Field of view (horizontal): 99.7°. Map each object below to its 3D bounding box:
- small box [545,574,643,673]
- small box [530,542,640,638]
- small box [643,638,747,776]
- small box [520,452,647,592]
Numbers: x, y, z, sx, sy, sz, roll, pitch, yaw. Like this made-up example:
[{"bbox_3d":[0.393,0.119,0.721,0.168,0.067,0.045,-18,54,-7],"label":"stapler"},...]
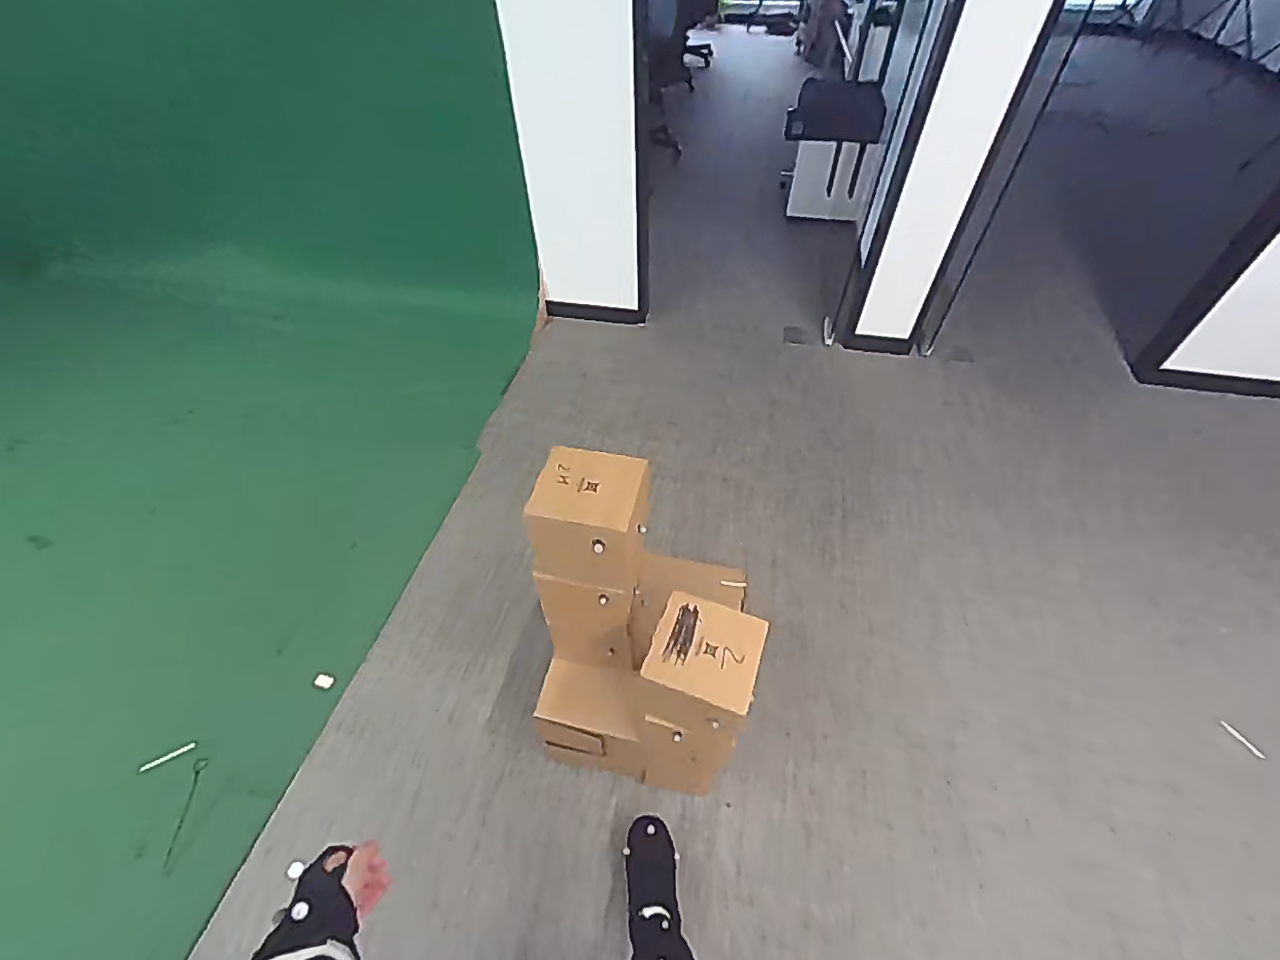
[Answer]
[{"bbox_3d":[-0.093,0.307,1.191,0.179,0.176,0.168,7,46,8],"label":"small box"},{"bbox_3d":[-0.100,0.193,1.076,0.179,0.176,0.168,9,46,7],"label":"small box"},{"bbox_3d":[0.104,0.445,1.059,0.168,0.176,0.179,12,48,11],"label":"small box"},{"bbox_3d":[-0.091,0.077,0.958,0.179,0.176,0.168,9,46,9],"label":"small box"}]
